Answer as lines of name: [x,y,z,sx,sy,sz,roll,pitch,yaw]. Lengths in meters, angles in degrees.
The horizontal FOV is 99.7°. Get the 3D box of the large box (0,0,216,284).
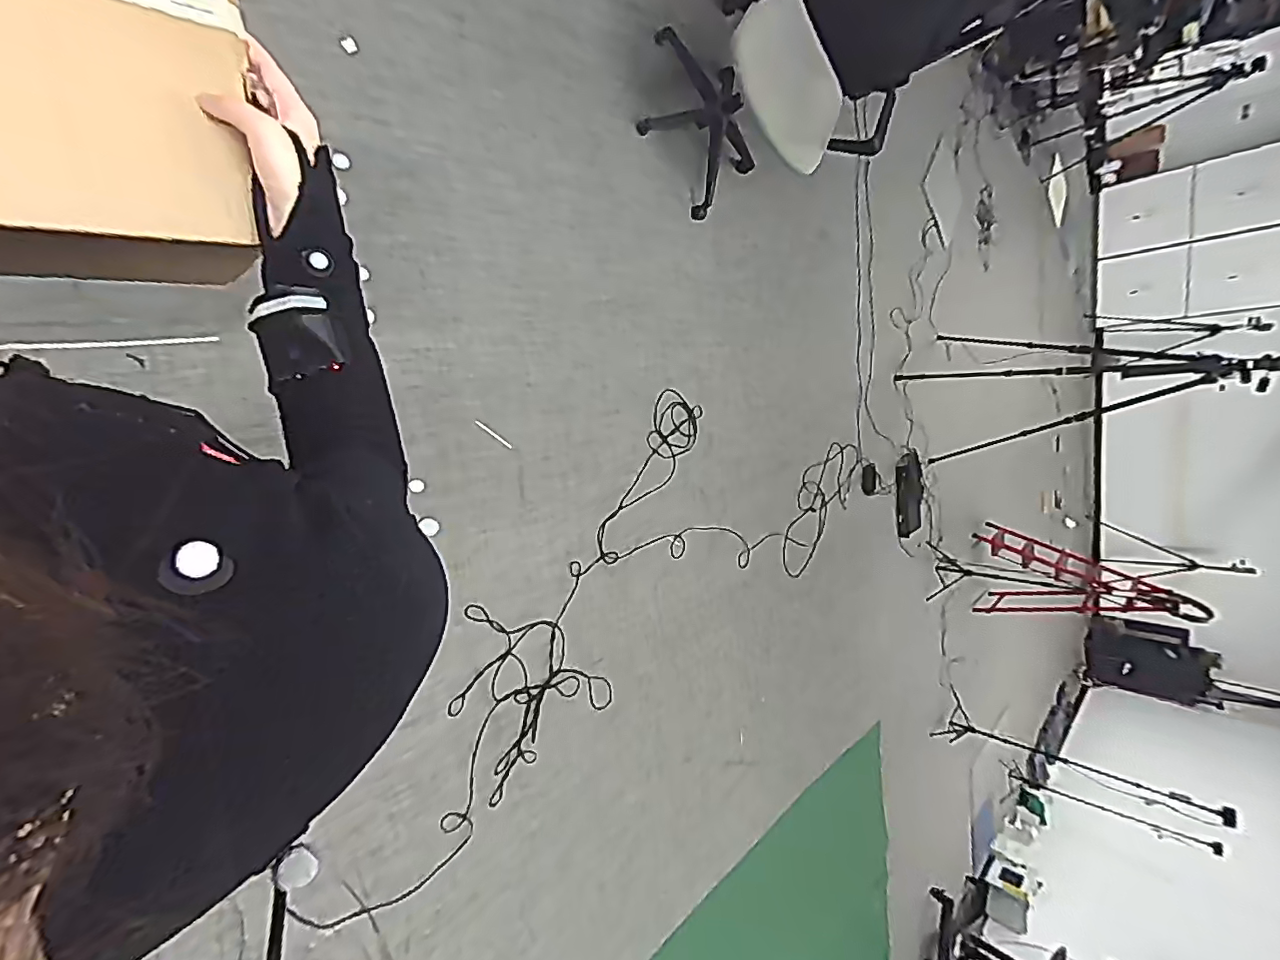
large box: [-0.565,-0.364,0.391,0.408,0.320,0.320,1,113,-39]
